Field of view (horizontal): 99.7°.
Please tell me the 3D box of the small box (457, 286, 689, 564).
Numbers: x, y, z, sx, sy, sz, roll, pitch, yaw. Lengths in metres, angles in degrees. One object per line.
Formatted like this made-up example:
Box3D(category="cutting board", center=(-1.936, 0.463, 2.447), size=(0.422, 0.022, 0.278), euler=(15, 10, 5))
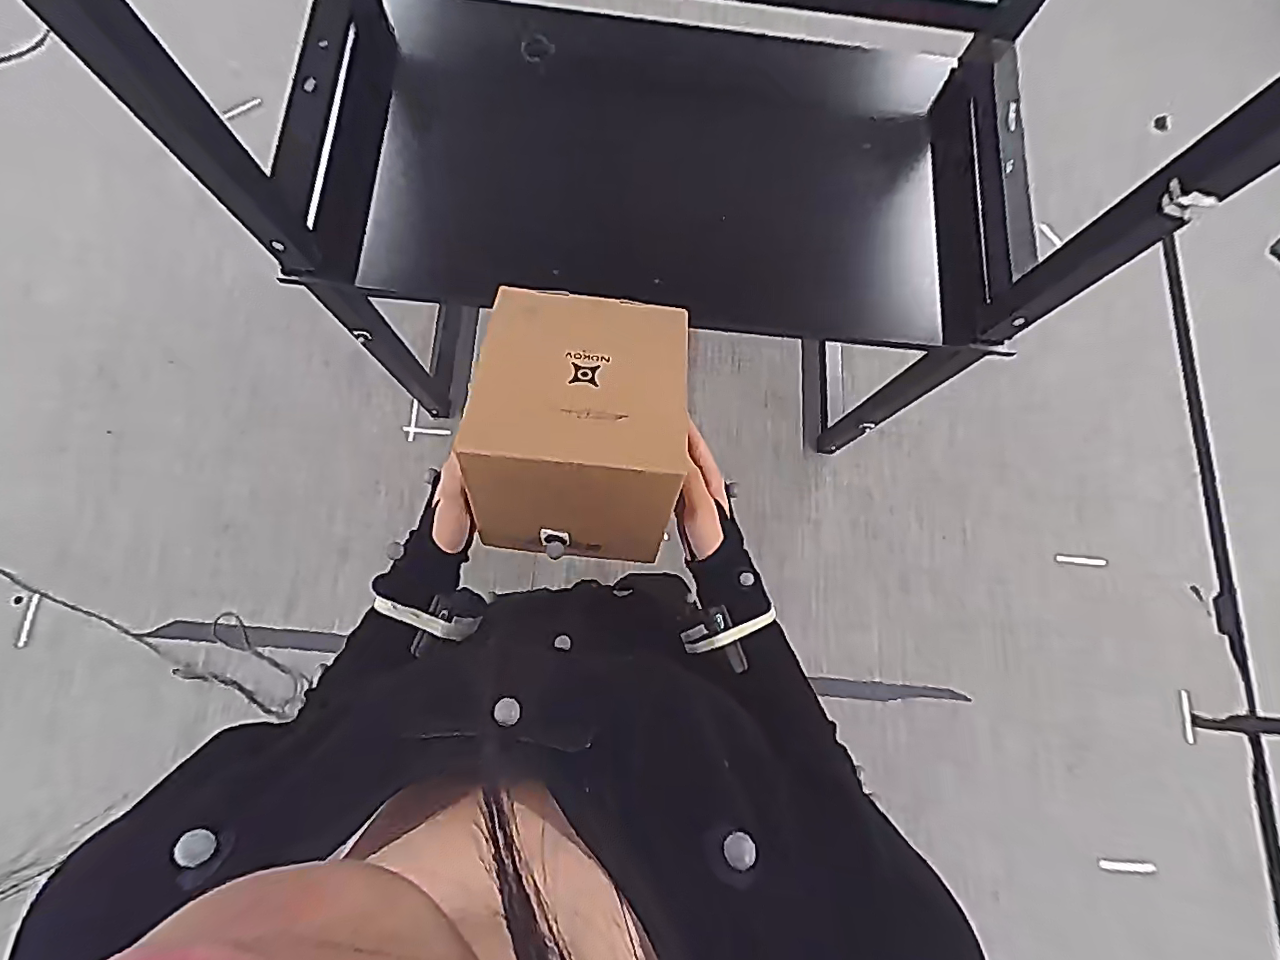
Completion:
Box3D(category="small box", center=(-0.053, -0.042, 0.488), size=(0.168, 0.176, 0.179), euler=(5, 59, -4))
